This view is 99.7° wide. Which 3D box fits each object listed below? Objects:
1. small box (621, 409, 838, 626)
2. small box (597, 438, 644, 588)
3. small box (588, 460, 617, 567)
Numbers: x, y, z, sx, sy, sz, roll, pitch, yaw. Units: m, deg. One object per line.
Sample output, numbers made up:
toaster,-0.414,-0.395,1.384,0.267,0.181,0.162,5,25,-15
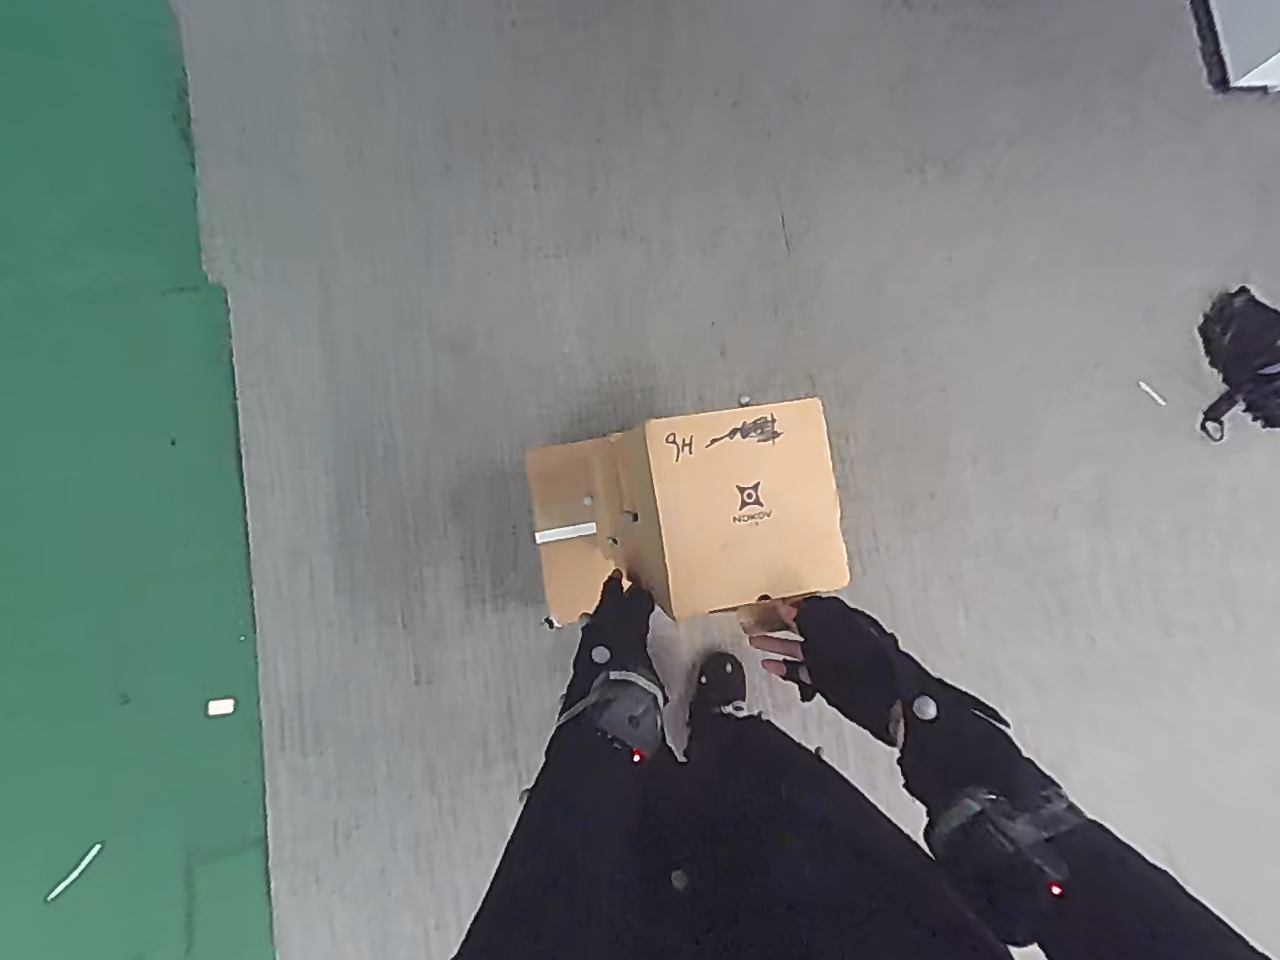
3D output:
small box,0.079,0.032,0.560,0.168,0.176,0.179,-9,91,-9
small box,0.040,0.031,0.719,0.168,0.176,0.179,-10,89,-9
small box,0.017,0.035,0.879,0.179,0.176,0.168,-11,91,-9
